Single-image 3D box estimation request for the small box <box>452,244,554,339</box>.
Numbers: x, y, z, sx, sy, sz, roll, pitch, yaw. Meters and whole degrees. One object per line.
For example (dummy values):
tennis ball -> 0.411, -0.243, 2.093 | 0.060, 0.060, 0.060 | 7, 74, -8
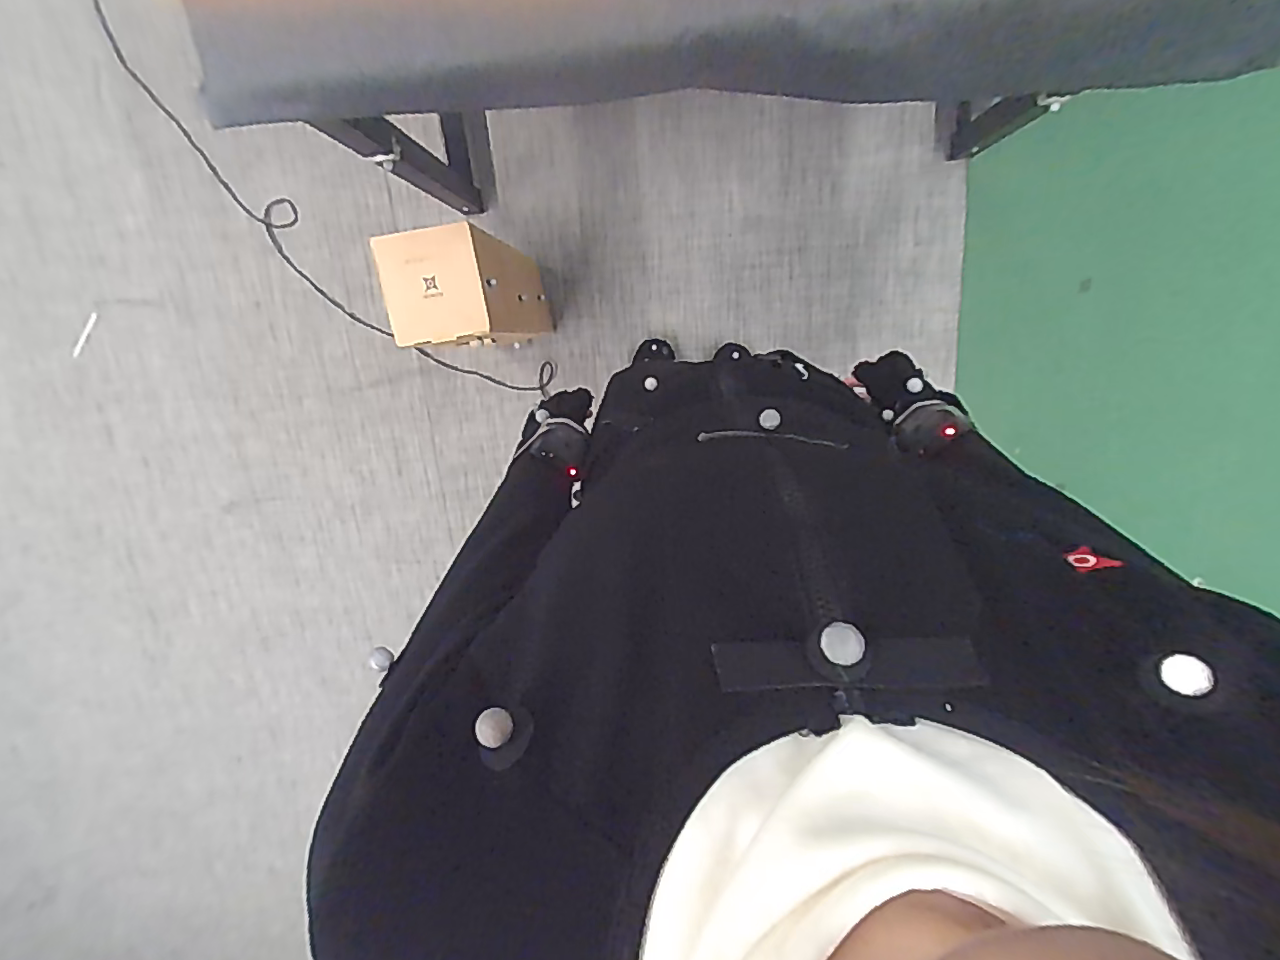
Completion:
small box -> -0.312, -0.432, 1.267 | 0.168, 0.176, 0.179 | -11, 105, 6
